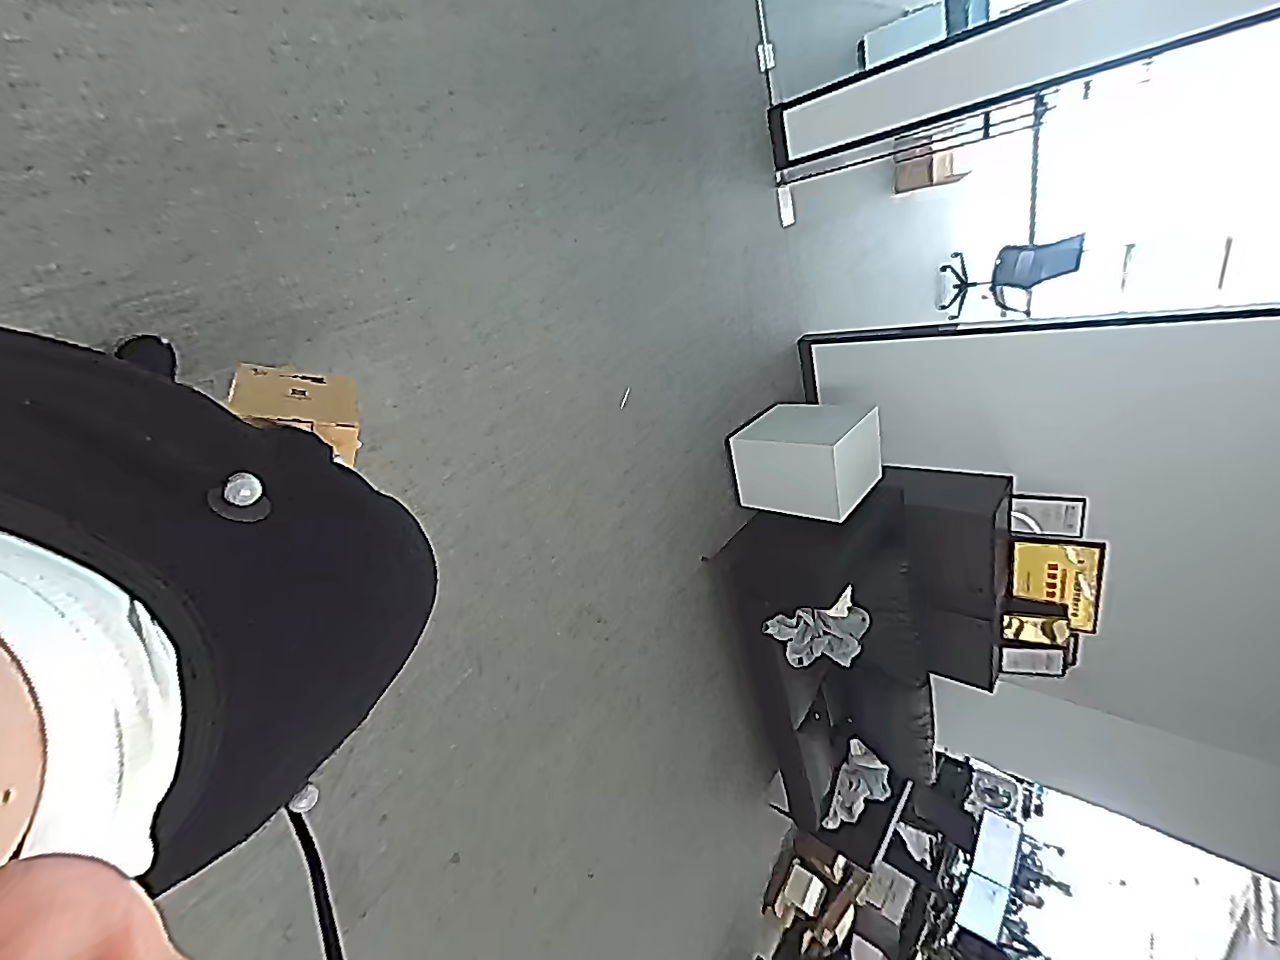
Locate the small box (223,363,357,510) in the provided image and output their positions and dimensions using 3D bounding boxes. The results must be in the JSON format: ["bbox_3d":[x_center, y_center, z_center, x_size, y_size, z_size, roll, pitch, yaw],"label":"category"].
[{"bbox_3d":[-0.560,-0.065,0.869,0.168,0.179,0.176,4,121,-35],"label":"small box"}]
